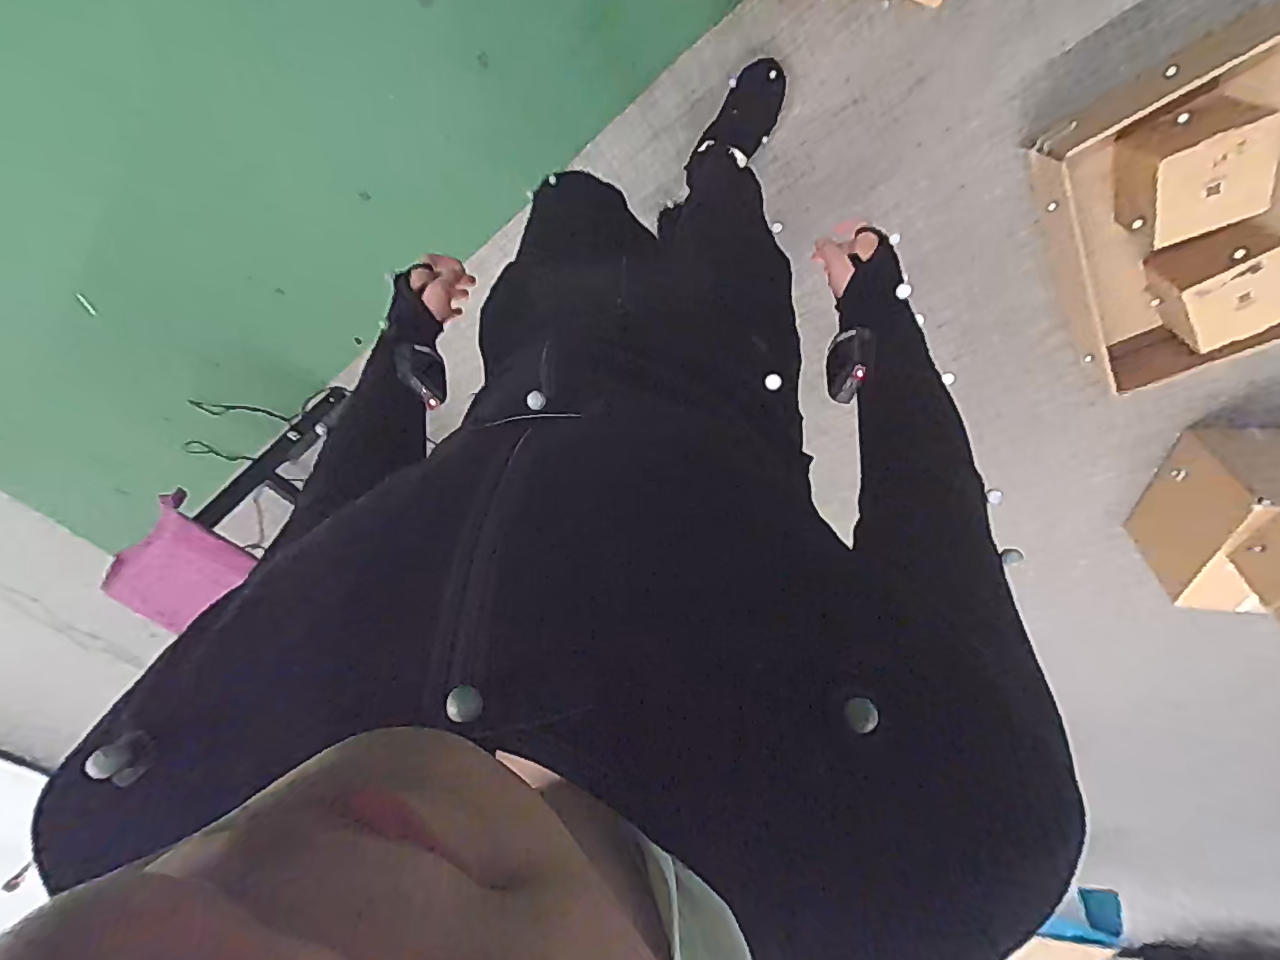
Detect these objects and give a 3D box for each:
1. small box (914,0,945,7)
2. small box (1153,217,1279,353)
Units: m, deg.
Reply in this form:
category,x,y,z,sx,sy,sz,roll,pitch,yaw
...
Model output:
category,x,y,z,sx,sy,sz,roll,pitch,yaw
small box,0.275,-0.637,0.569,0.179,0.176,0.168,18,134,-3
small box,1.224,-0.406,1.122,0.168,0.176,0.179,-29,120,32
